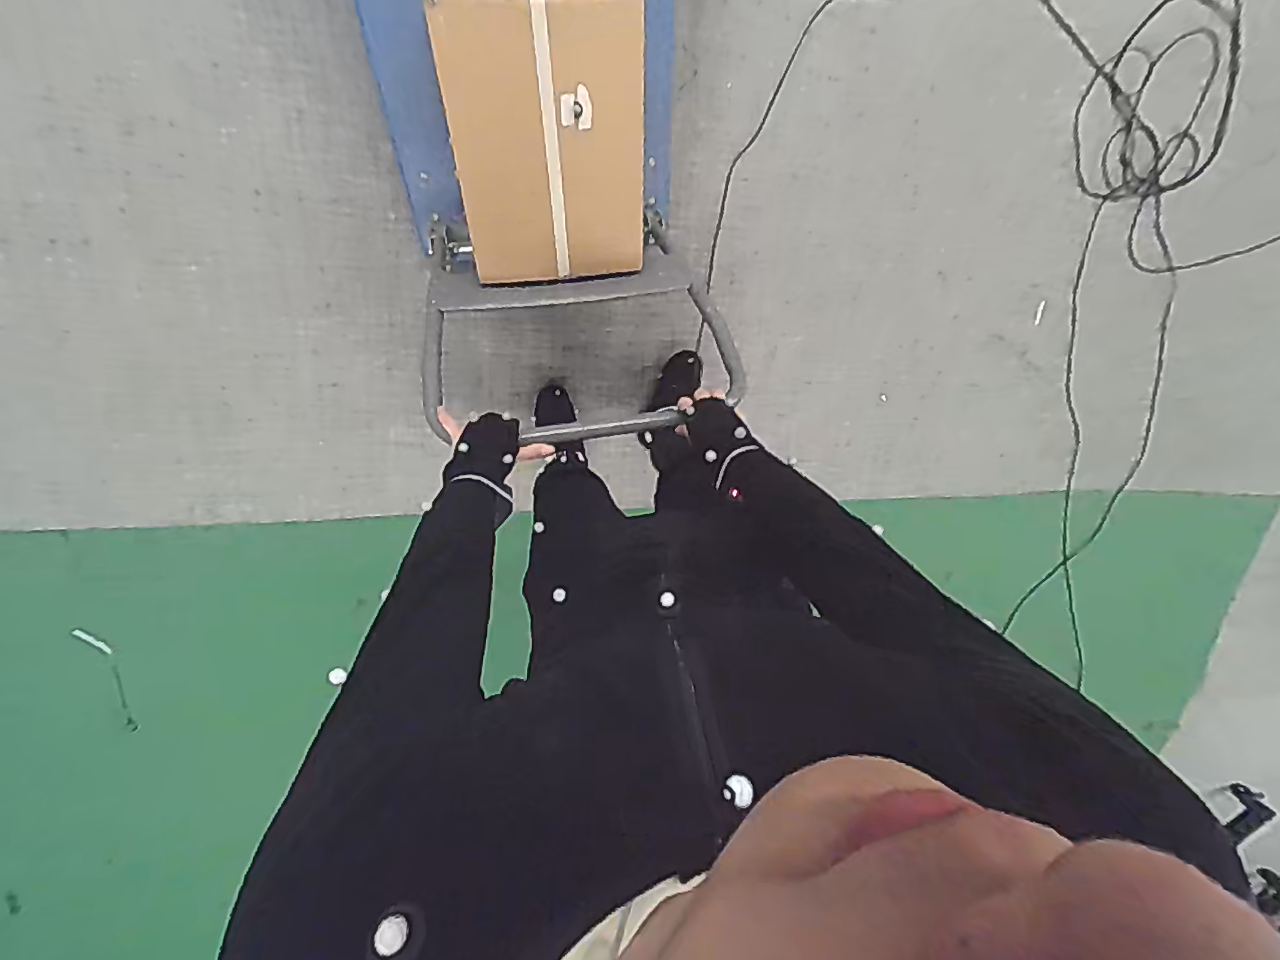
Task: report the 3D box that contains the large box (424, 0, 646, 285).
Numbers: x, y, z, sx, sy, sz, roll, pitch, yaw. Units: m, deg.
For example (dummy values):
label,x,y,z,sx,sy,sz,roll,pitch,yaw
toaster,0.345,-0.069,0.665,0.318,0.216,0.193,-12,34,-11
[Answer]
label,x,y,z,sx,sy,sz,roll,pitch,yaw
large box,-0.174,-0.628,1.008,0.320,0.320,0.408,-9,132,-9
